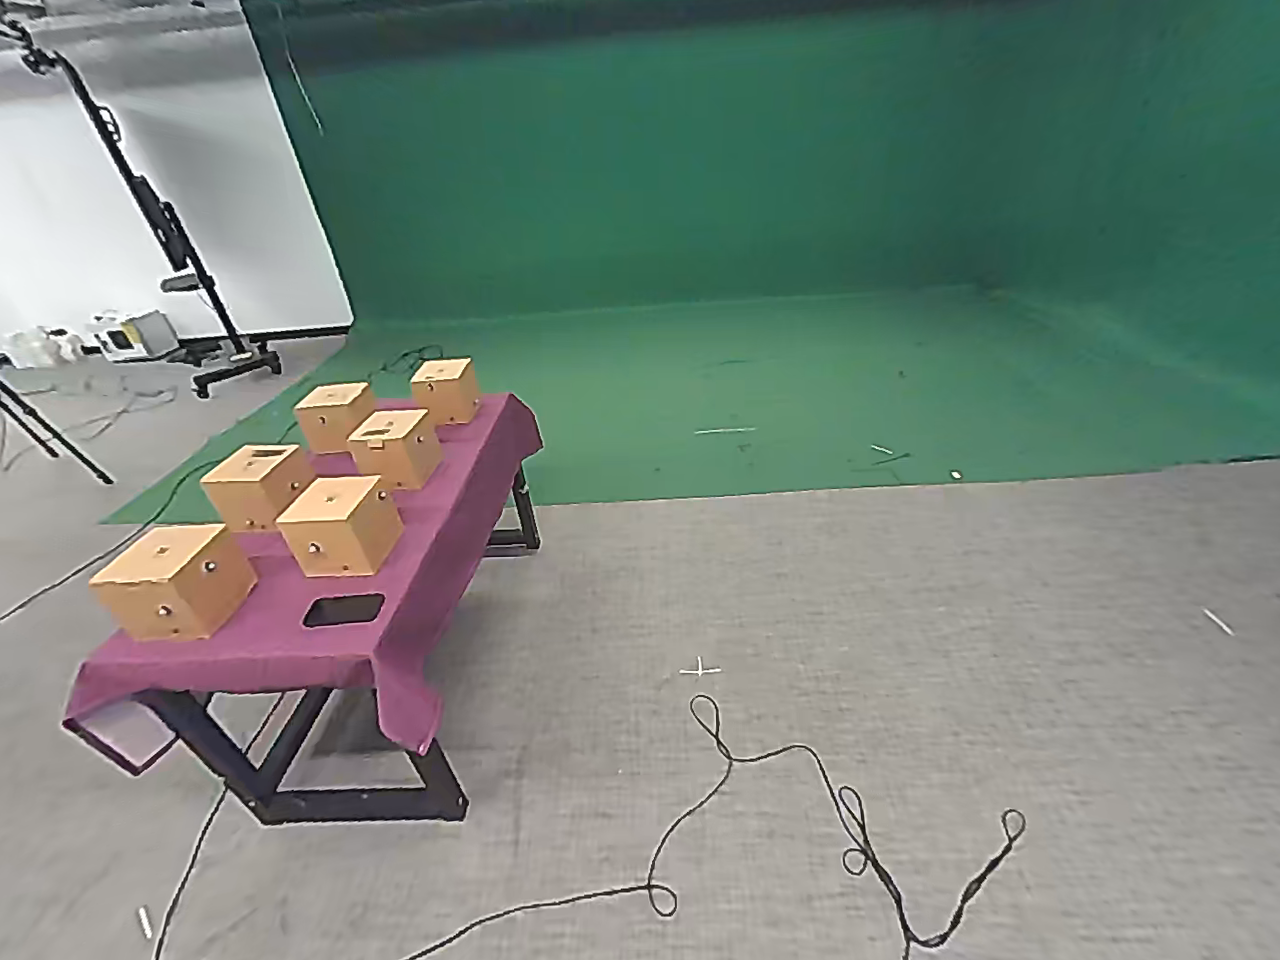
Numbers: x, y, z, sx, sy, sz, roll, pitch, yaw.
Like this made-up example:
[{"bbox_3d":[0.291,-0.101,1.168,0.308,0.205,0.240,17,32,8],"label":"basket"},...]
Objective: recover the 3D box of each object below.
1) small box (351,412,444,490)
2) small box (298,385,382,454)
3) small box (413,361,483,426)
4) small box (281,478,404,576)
[{"bbox_3d":[-0.692,-0.083,1.568,0.168,0.176,0.179,-1,33,6],"label":"small box"},{"bbox_3d":[-0.970,-0.196,1.777,0.179,0.176,0.168,-4,34,2],"label":"small box"},{"bbox_3d":[-0.661,-0.302,1.890,0.168,0.176,0.179,-4,34,3],"label":"small box"},{"bbox_3d":[-0.686,0.114,1.275,0.168,0.176,0.179,-3,33,5],"label":"small box"}]
